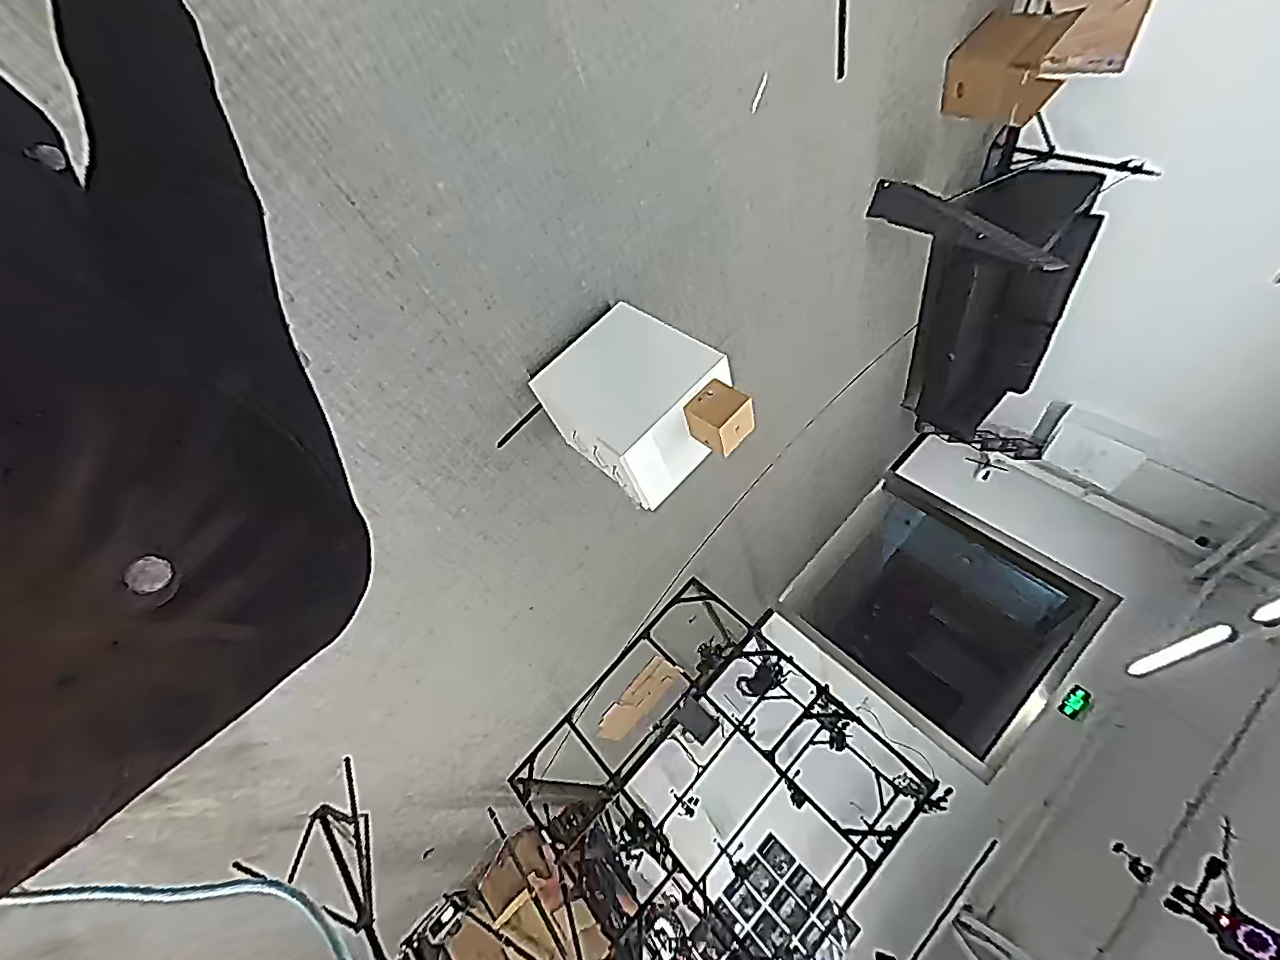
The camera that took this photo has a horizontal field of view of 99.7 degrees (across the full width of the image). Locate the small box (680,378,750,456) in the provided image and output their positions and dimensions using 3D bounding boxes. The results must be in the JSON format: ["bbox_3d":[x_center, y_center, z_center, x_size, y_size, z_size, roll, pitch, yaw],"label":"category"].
[{"bbox_3d":[0.263,-0.222,1.881,0.168,0.176,0.179,-45,148,-13],"label":"small box"}]
